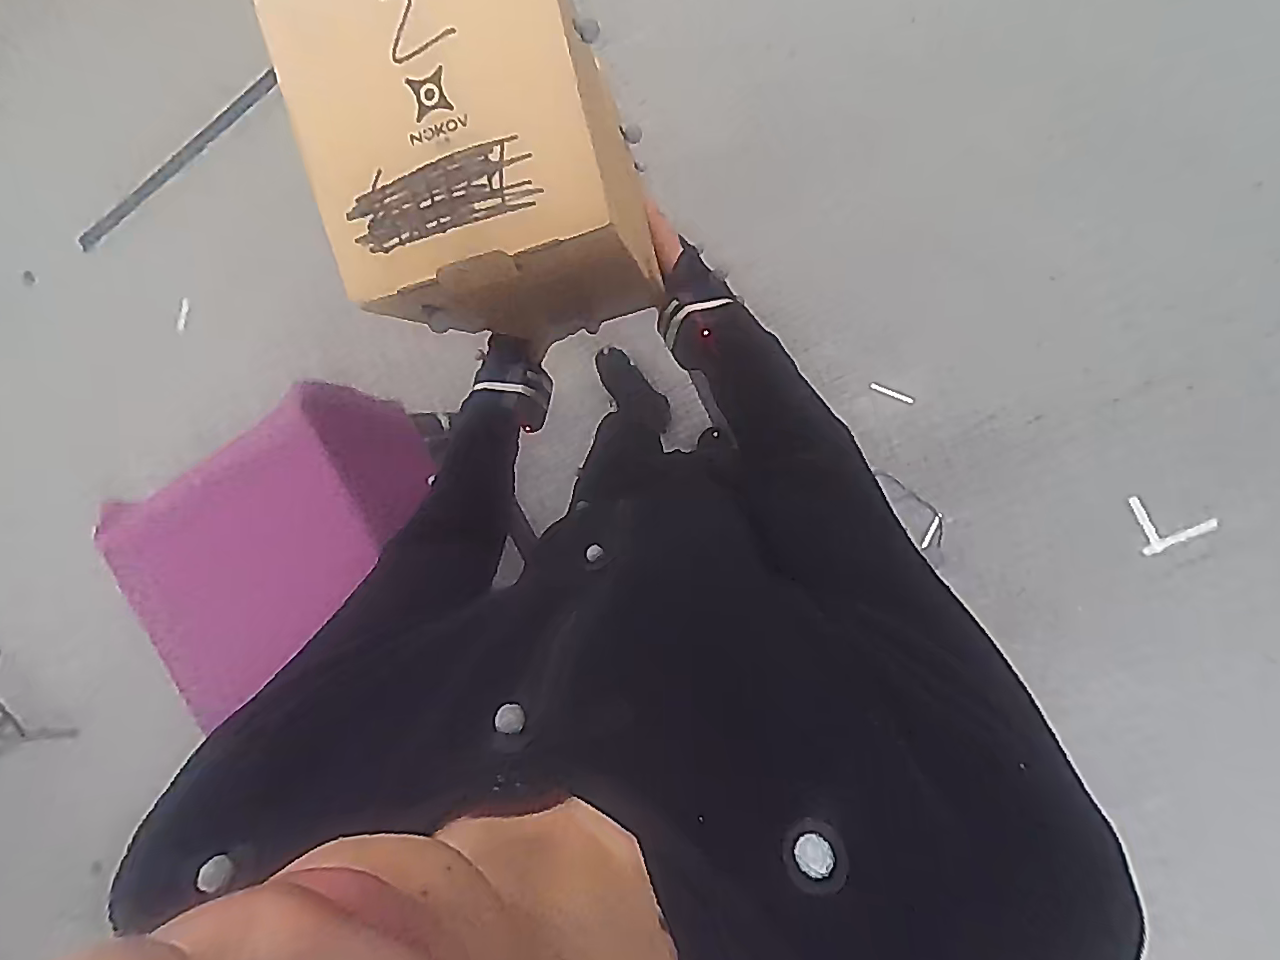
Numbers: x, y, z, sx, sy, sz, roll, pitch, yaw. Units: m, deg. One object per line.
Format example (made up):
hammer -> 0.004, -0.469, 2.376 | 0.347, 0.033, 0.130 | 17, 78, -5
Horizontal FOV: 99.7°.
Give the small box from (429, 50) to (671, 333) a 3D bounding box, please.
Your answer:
small box -> -0.071, -0.256, 0.530 | 0.168, 0.176, 0.179 | -13, 99, 10
